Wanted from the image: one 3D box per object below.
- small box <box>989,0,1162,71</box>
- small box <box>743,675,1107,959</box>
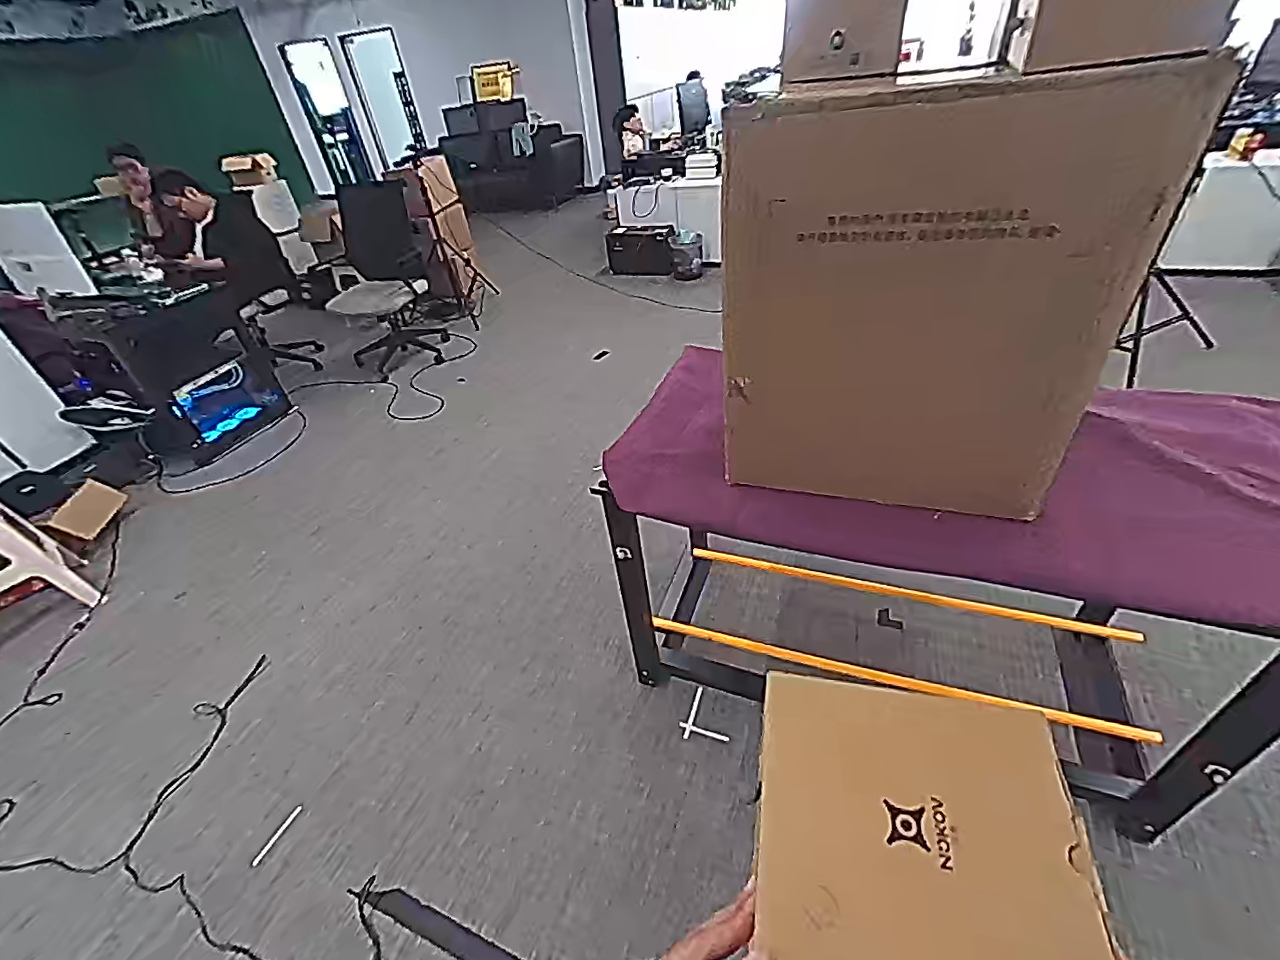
[{"bbox_3d":[0.585,-0.662,0.722,0.168,0.176,0.179,9,41,22],"label":"small box"},{"bbox_3d":[0.165,0.260,0.371,0.179,0.176,0.168,4,45,13],"label":"small box"}]
